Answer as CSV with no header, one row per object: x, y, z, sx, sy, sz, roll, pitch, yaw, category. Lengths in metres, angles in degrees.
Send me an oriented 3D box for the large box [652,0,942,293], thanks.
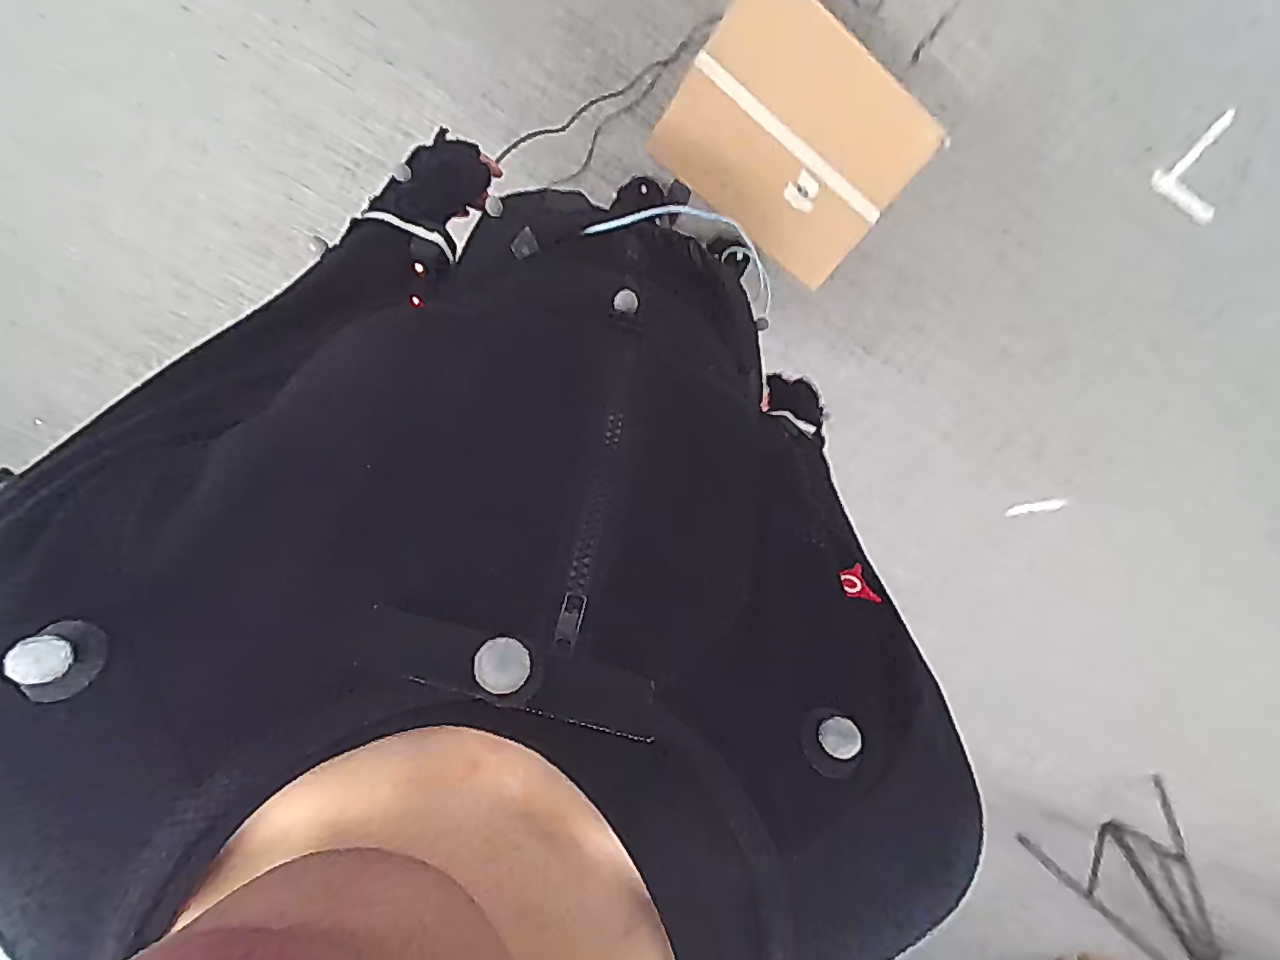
0.272,-0.641,1.059,0.408,0.320,0.320,34,118,-15,large box
